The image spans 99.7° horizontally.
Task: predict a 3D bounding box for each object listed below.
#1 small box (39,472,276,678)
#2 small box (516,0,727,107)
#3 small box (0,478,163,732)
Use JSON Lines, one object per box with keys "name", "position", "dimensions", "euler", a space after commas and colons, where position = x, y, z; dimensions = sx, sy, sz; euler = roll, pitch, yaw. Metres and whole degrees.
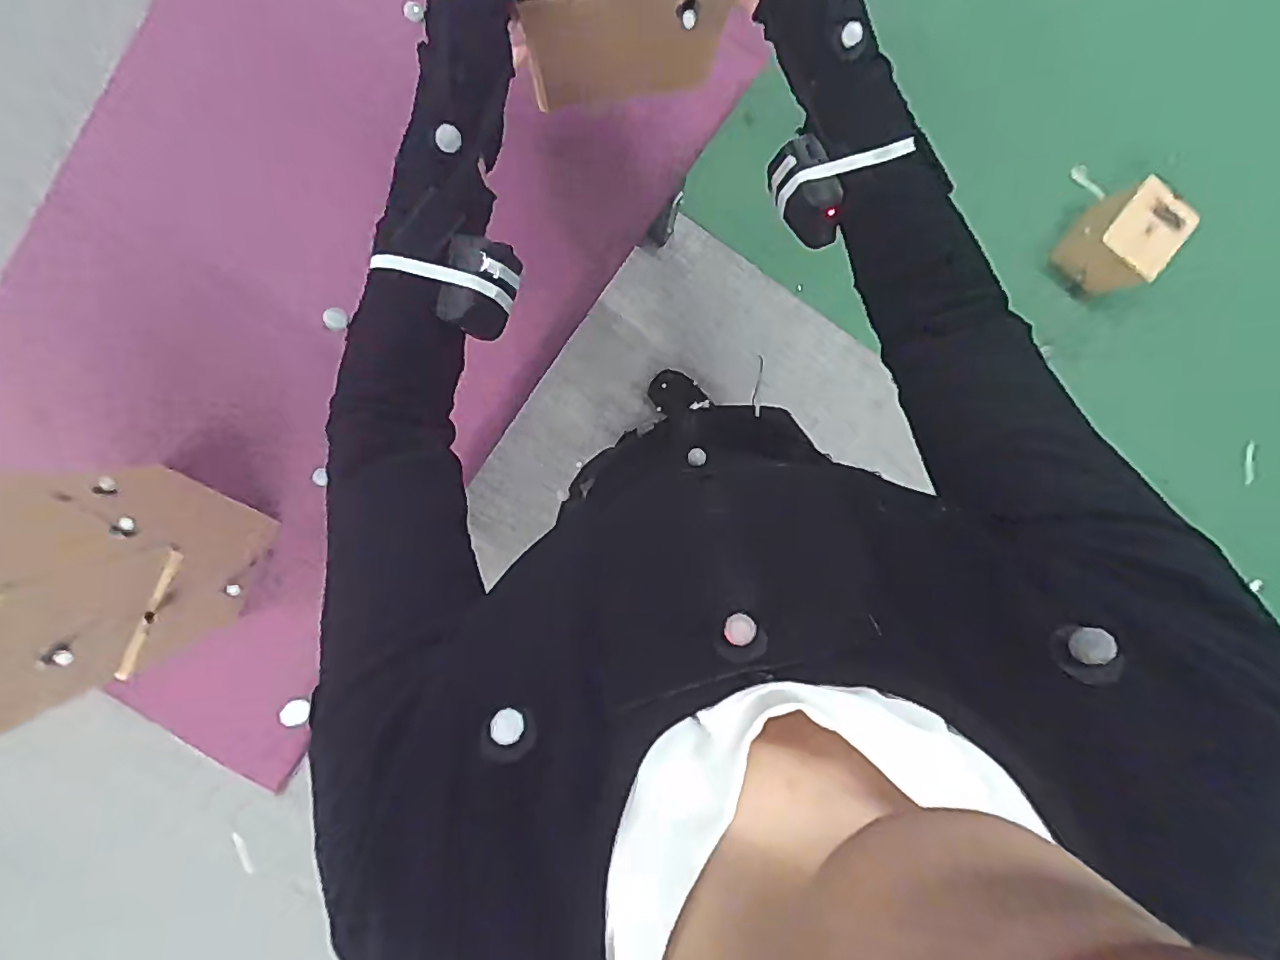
{"name": "small box", "position": [-0.604, 0.100, 0.661], "dimensions": [0.179, 0.176, 0.168], "euler": [28, 96, -4]}
{"name": "small box", "position": [-0.022, -0.450, 0.458], "dimensions": [0.179, 0.176, 0.168], "euler": [-9, 100, -3]}
{"name": "small box", "position": [-0.602, 0.112, 0.494], "dimensions": [0.168, 0.176, 0.179], "euler": [30, 95, -2]}
